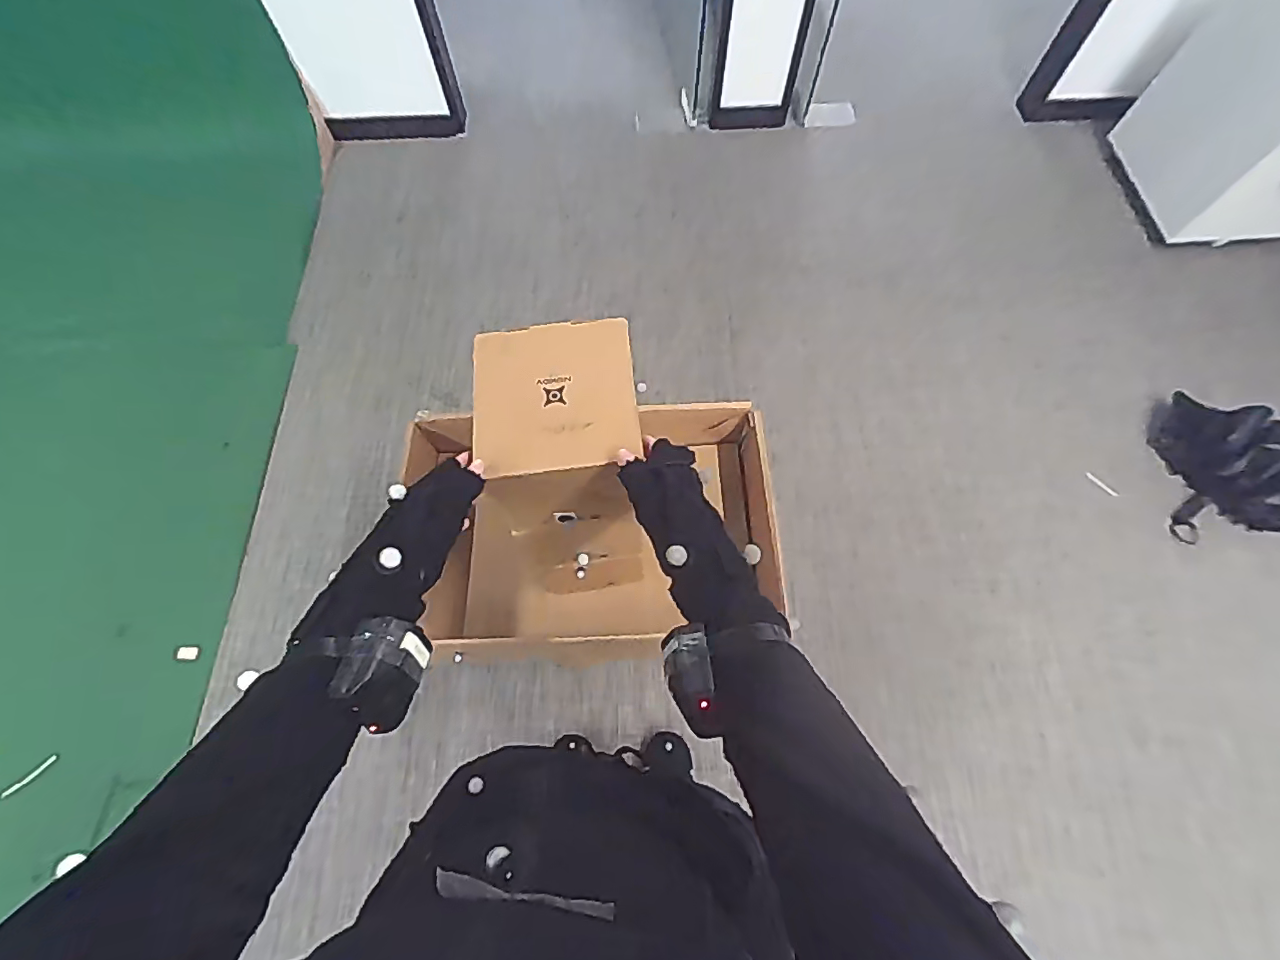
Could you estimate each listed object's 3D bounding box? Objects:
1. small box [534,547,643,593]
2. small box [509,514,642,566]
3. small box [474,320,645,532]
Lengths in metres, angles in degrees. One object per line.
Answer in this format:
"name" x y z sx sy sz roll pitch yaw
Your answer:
"small box" -0.088 0.080 0.922 0.168 0.176 0.179 -9 66 -2
"small box" -0.089 0.010 0.773 0.168 0.176 0.179 -7 67 -2
"small box" -0.085 -0.054 0.625 0.168 0.176 0.179 -8 67 -1
